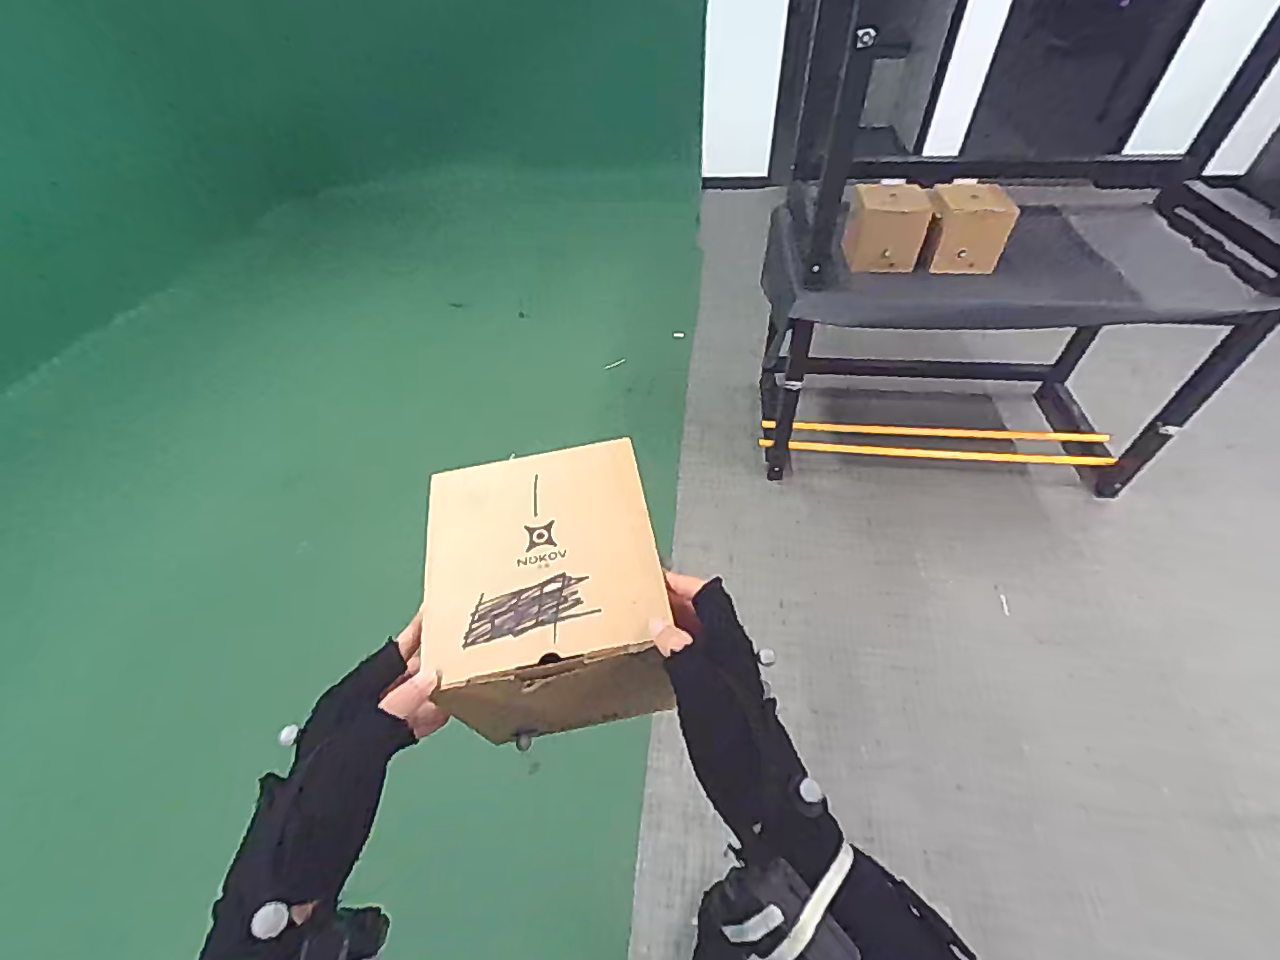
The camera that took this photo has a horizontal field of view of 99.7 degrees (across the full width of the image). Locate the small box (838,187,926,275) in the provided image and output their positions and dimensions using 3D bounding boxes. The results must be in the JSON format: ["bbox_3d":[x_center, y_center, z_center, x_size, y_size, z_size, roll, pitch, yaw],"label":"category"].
[{"bbox_3d":[0.653,-0.684,1.483,0.168,0.176,0.179,3,47,6],"label":"small box"}]

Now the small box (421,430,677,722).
[{"bbox_3d":[-0.065,0.089,0.454,0.168,0.176,0.179,-10,52,-3],"label":"small box"}]
